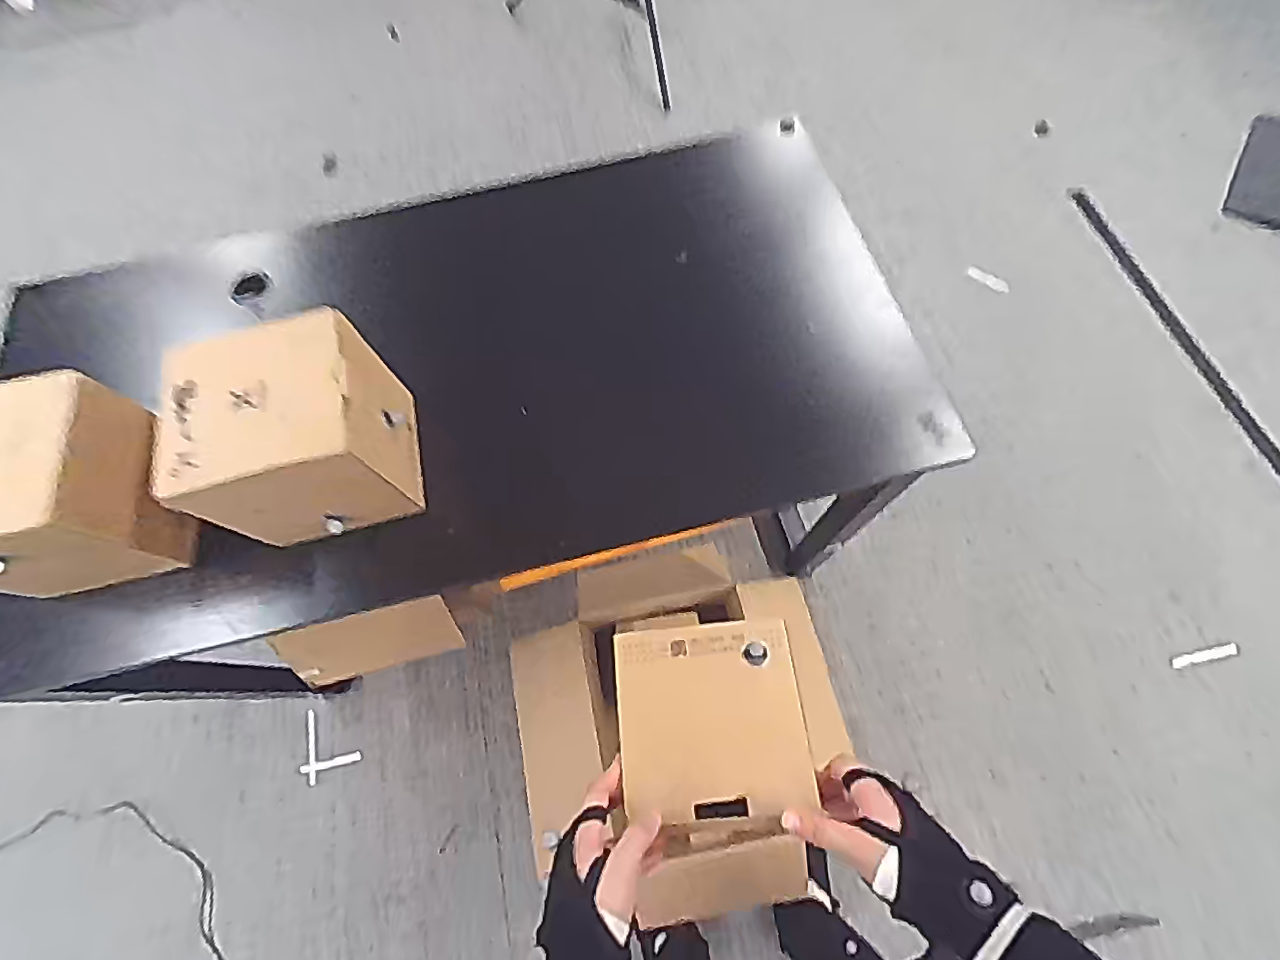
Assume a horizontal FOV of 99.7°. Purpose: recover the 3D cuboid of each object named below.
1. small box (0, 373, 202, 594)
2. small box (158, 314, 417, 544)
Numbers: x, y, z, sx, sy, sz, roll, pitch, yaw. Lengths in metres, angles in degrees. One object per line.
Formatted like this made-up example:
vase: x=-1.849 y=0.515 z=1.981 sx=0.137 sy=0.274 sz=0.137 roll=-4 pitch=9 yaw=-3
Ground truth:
small box: x=-0.613 y=0.015 z=0.573 sx=0.179 sy=0.176 sz=0.168 roll=-11 pitch=68 yaw=-3
small box: x=-0.357 y=-0.045 z=0.584 sx=0.179 sy=0.176 sz=0.168 roll=-14 pitch=68 yaw=-4
